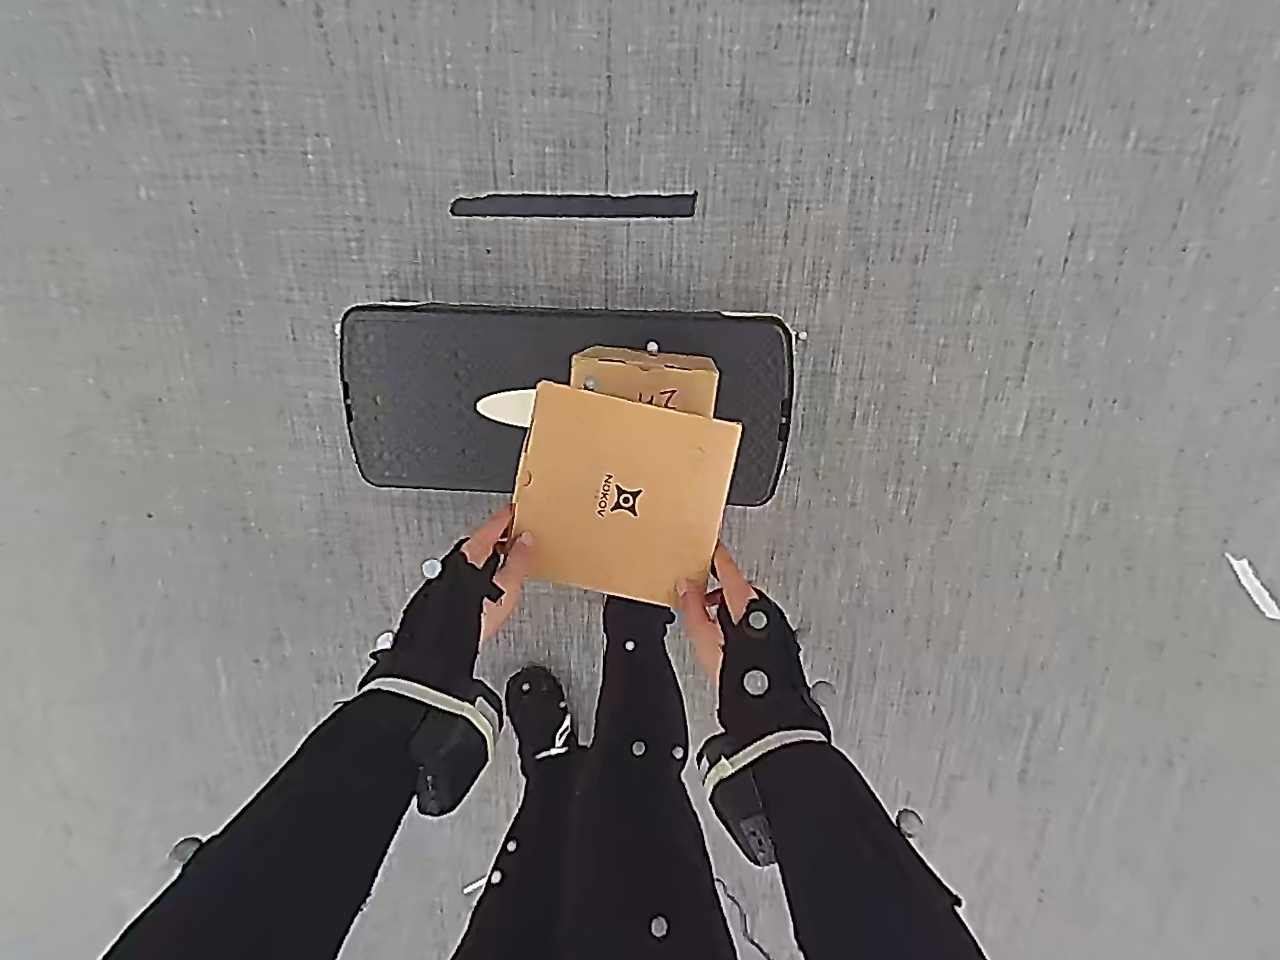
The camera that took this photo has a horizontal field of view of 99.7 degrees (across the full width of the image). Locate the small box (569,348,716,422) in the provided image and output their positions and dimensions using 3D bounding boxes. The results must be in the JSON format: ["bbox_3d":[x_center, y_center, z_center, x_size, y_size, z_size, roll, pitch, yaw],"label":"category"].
[{"bbox_3d":[0.001,-0.069,0.700,0.168,0.176,0.179,7,107,2],"label":"small box"}]

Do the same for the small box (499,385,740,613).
[{"bbox_3d":[-0.018,0.013,0.530,0.179,0.176,0.168,12,93,-1],"label":"small box"}]
